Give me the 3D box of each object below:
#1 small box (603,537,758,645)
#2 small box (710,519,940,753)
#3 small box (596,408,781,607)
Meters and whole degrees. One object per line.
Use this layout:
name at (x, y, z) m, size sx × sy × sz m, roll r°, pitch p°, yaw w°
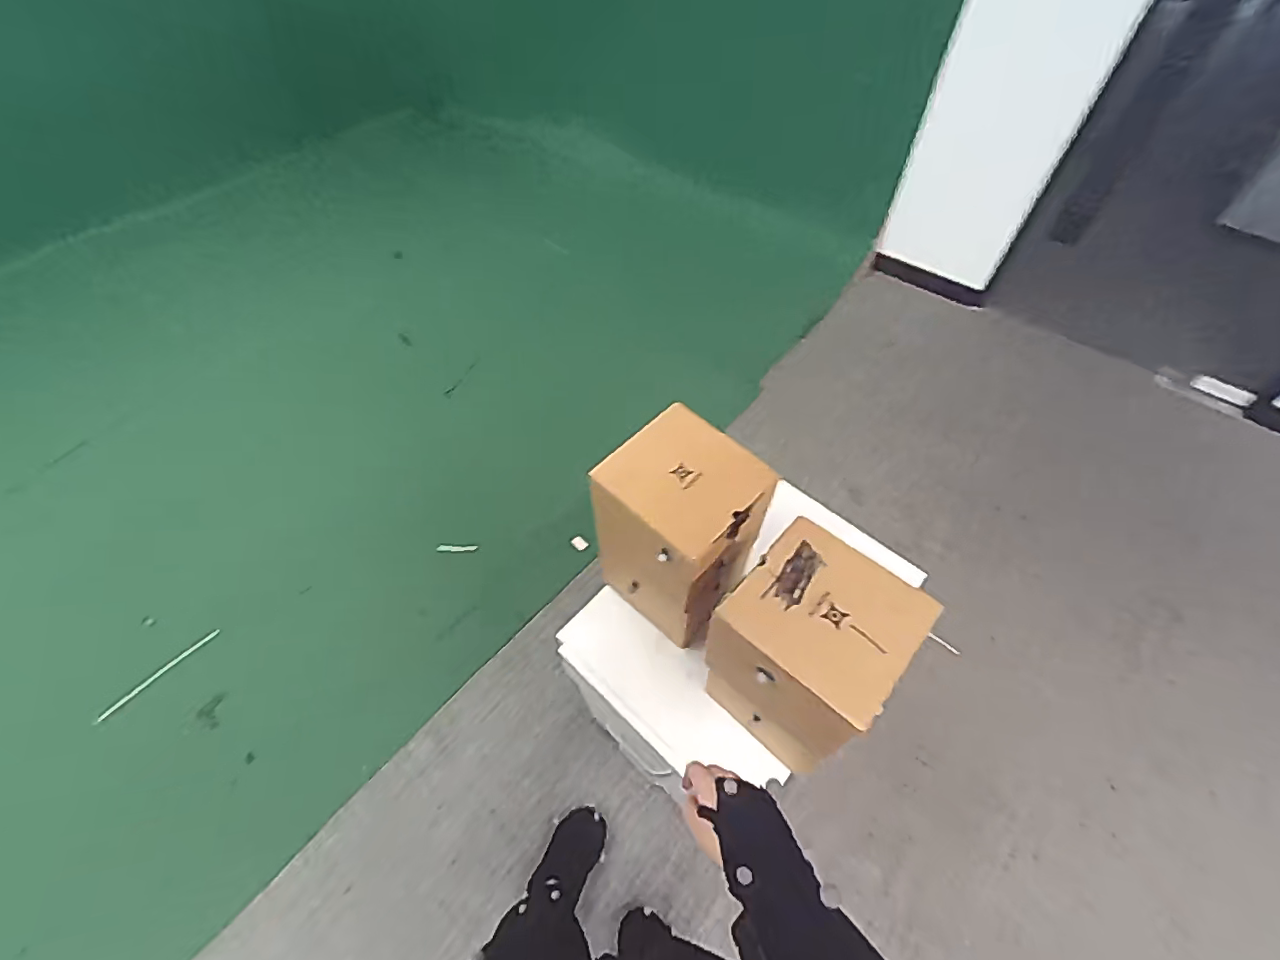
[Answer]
small box at (0.059, 0.135, 0.874) m, size 0.179 × 0.176 × 0.168 m, roll 37°, pitch 63°, yaw 22°
small box at (0.199, 0.185, 0.632) m, size 0.179 × 0.176 × 0.168 m, roll 37°, pitch 63°, yaw 25°
small box at (0.057, 0.042, 0.738) m, size 0.179 × 0.176 × 0.168 m, roll 39°, pitch 63°, yaw 22°
